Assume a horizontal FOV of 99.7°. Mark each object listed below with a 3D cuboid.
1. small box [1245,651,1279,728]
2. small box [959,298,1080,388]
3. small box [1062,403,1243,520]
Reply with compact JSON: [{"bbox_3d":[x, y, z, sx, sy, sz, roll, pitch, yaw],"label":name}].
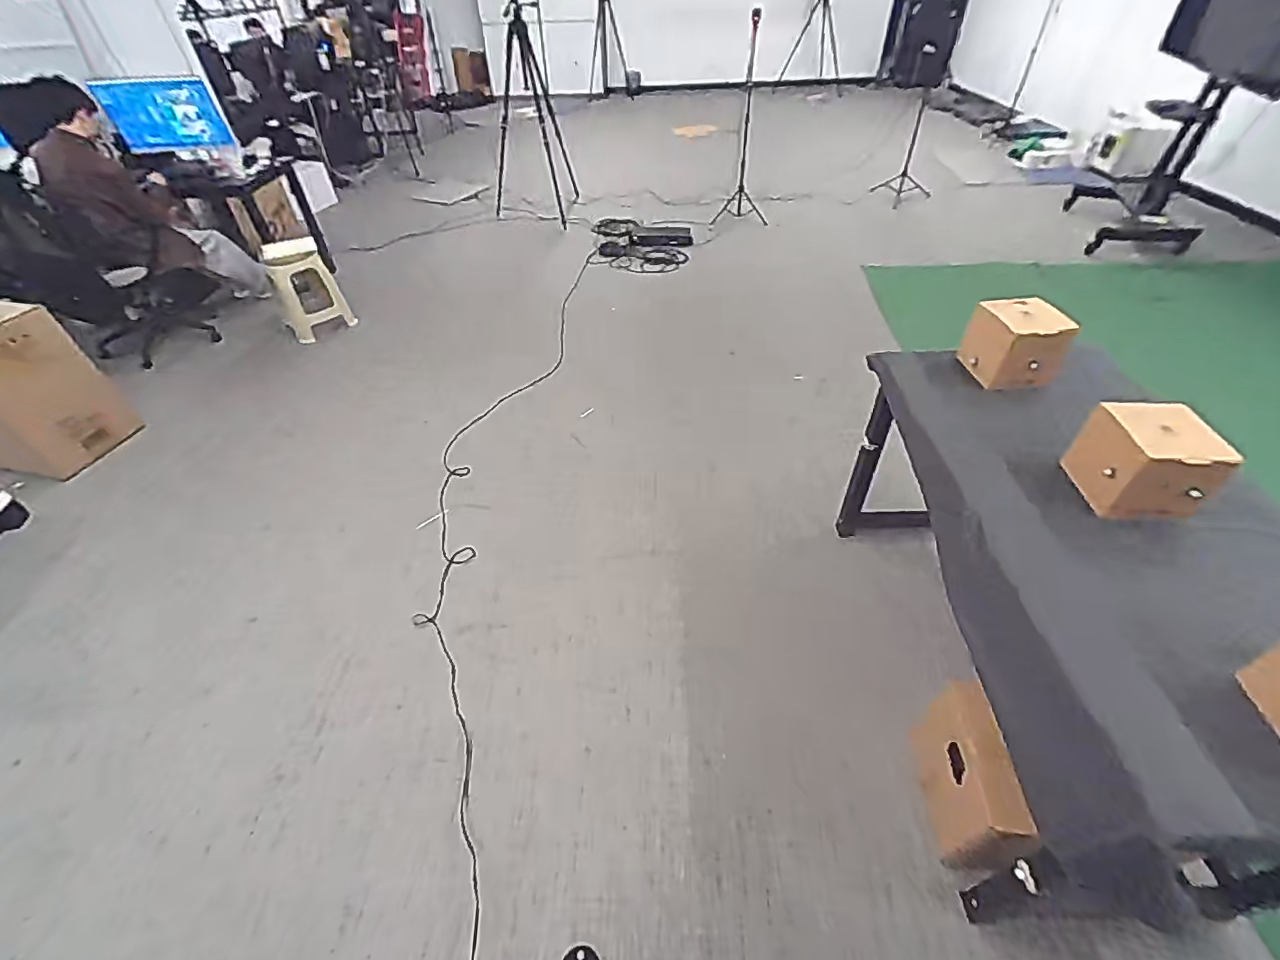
[{"bbox_3d":[0.999,0.307,0.719,0.168,0.176,0.179,2,44,5],"label":"small box"},{"bbox_3d":[0.983,-0.355,1.419,0.168,0.176,0.179,-4,45,-2],"label":"small box"},{"bbox_3d":[1.009,-0.036,1.086,0.168,0.176,0.179,3,43,4],"label":"small box"}]
